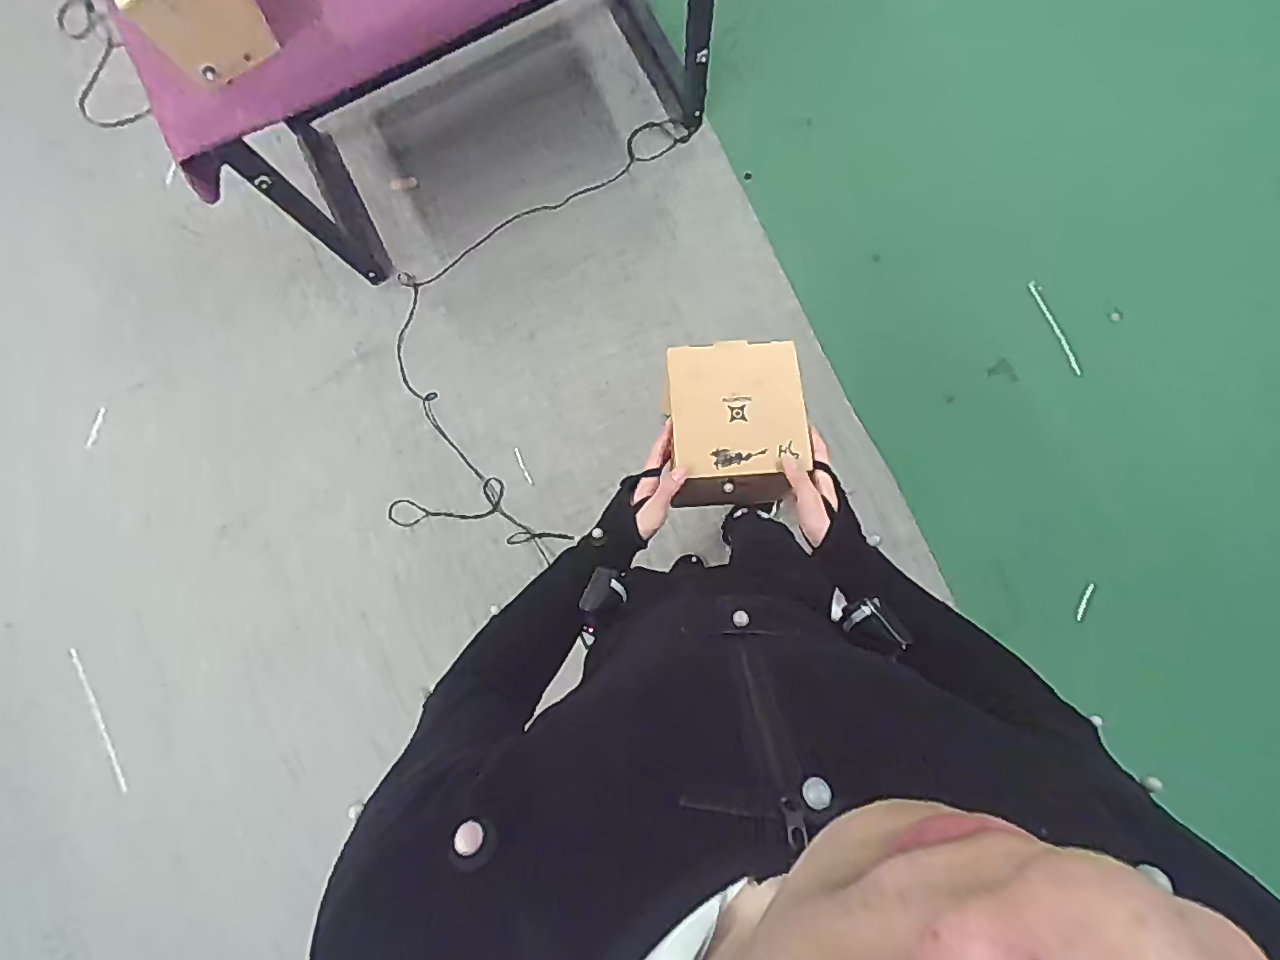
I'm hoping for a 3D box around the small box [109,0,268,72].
[{"bbox_3d":[-0.788,-0.847,0.920,0.168,0.176,0.179,-30,84,-1],"label":"small box"}]

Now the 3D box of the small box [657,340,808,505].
[{"bbox_3d":[0.113,-0.070,0.737,0.168,0.176,0.179,-4,76,-1],"label":"small box"}]
